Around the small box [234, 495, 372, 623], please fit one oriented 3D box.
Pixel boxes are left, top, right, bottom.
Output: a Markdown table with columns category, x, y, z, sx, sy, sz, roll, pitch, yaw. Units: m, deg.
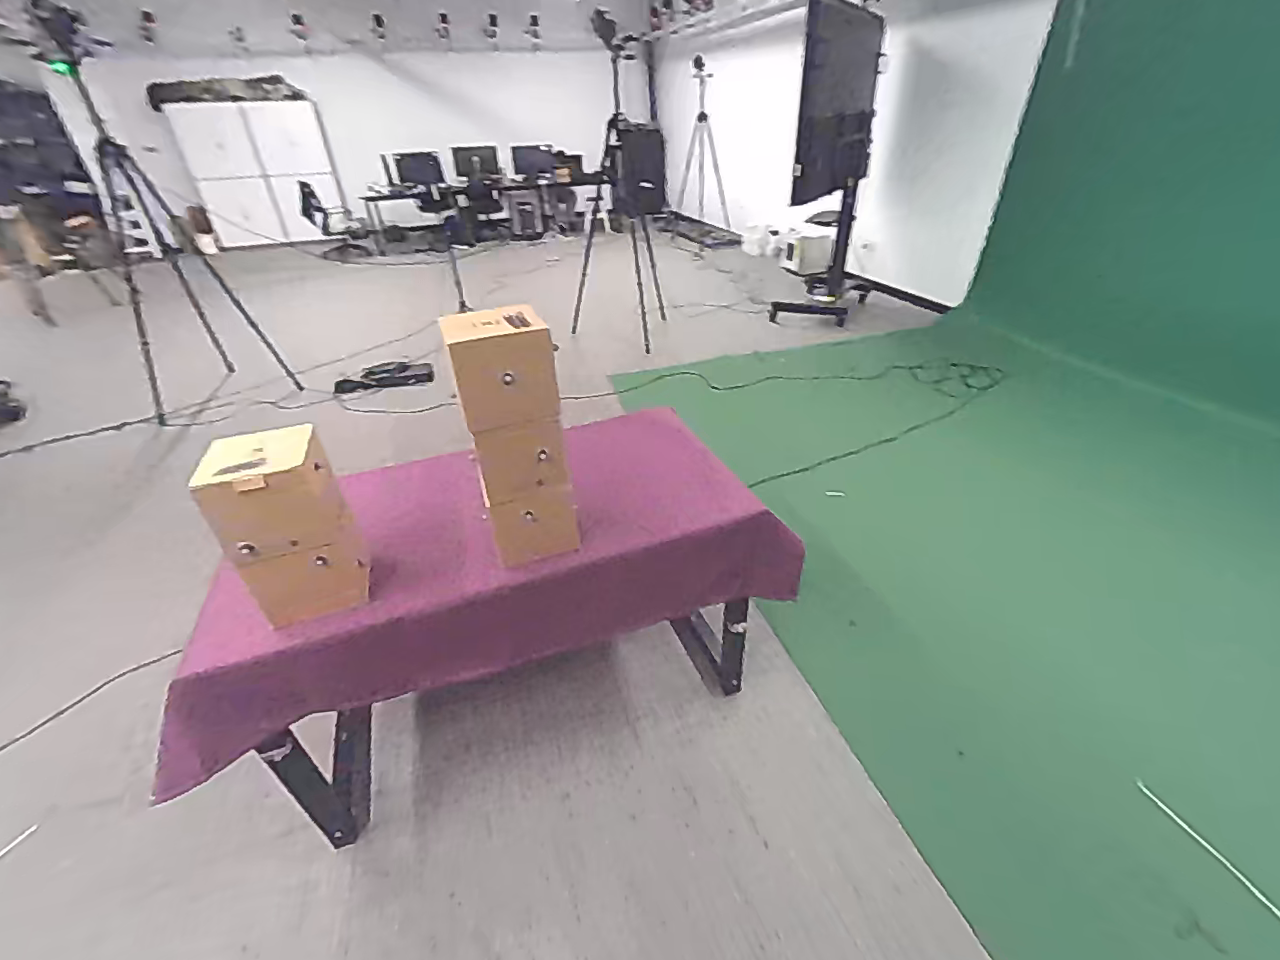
| category | x | y | z | sx | sy | sz | roll | pitch | yaw |
| --- | --- | --- | --- | --- | --- | --- | --- | --- | --- |
| small box | -0.655 | 0.157 | 1.073 | 0.179 | 0.176 | 0.168 | -12 | 35 | -17 |

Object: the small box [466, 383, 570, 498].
| category | x | y | z | sx | sy | sz | roll | pitch | yaw |
| --- | --- | --- | --- | --- | --- | --- | --- | --- | --- |
| small box | -0.247 | -0.077 | 1.103 | 0.168 | 0.176 | 0.179 | -13 | 35 | -17 |

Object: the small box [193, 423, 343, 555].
| category | x | y | z | sx | sy | sz | roll | pitch | yaw |
| --- | --- | --- | --- | --- | --- | --- | --- | --- | --- |
| small box | -0.659 | 0.019 | 0.984 | 0.168 | 0.176 | 0.179 | -13 | 34 | -17 |

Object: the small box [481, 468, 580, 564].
| category | x | y | z | sx | sy | sz | roll | pitch | yaw |
| --- | --- | --- | --- | --- | --- | --- | --- | --- | --- |
| small box | -0.240 | 0.062 | 1.189 | 0.179 | 0.176 | 0.168 | -12 | 36 | -15 |
